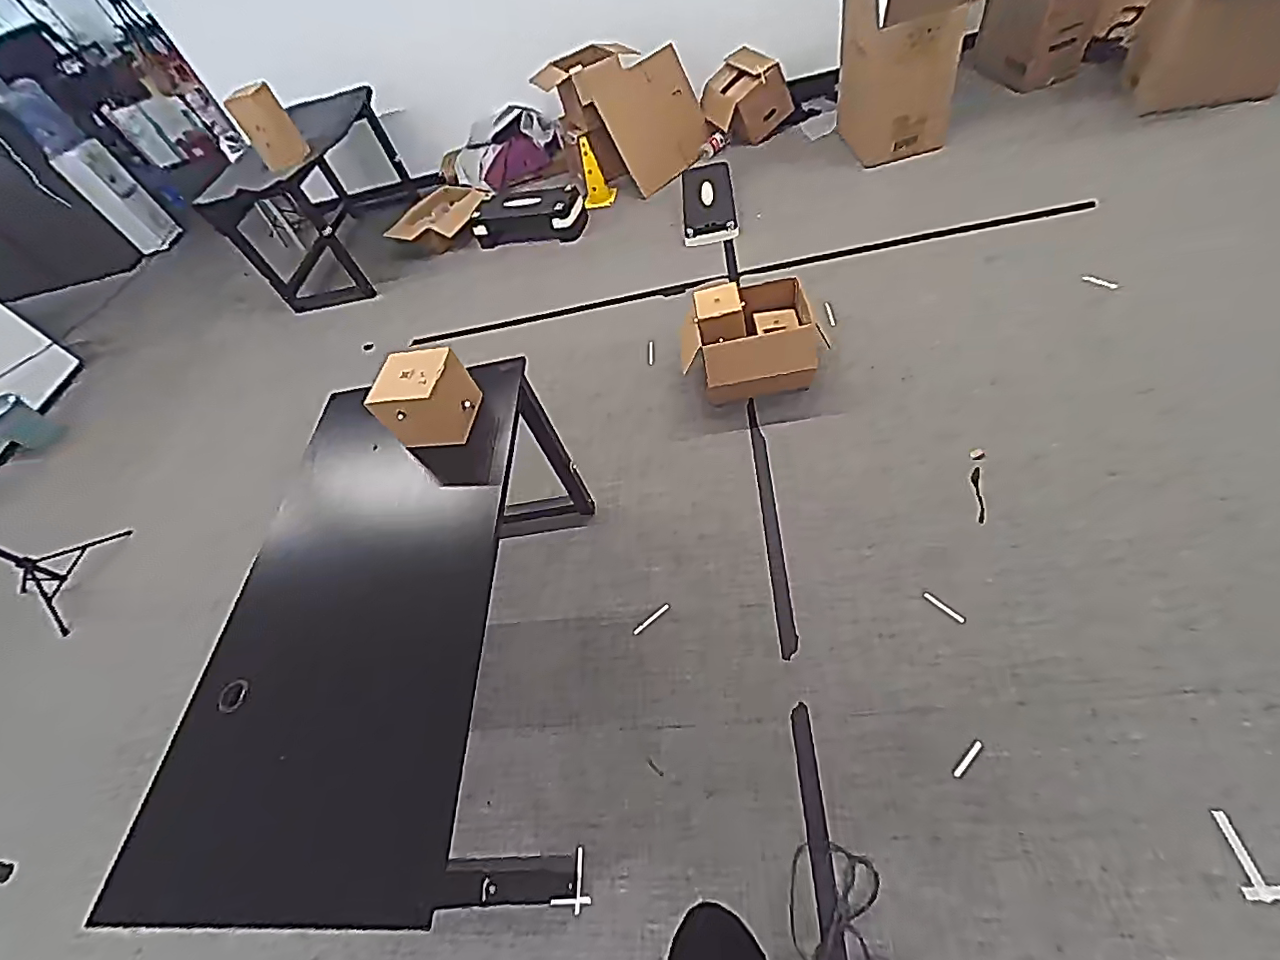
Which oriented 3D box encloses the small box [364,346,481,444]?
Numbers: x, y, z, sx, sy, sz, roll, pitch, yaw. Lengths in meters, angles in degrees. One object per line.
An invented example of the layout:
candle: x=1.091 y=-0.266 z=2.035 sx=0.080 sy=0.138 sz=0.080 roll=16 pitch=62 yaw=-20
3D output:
small box: x=-0.520 y=-0.201 z=1.319 sx=0.179 sy=0.176 sz=0.168 roll=-2 pitch=56 yaw=15
